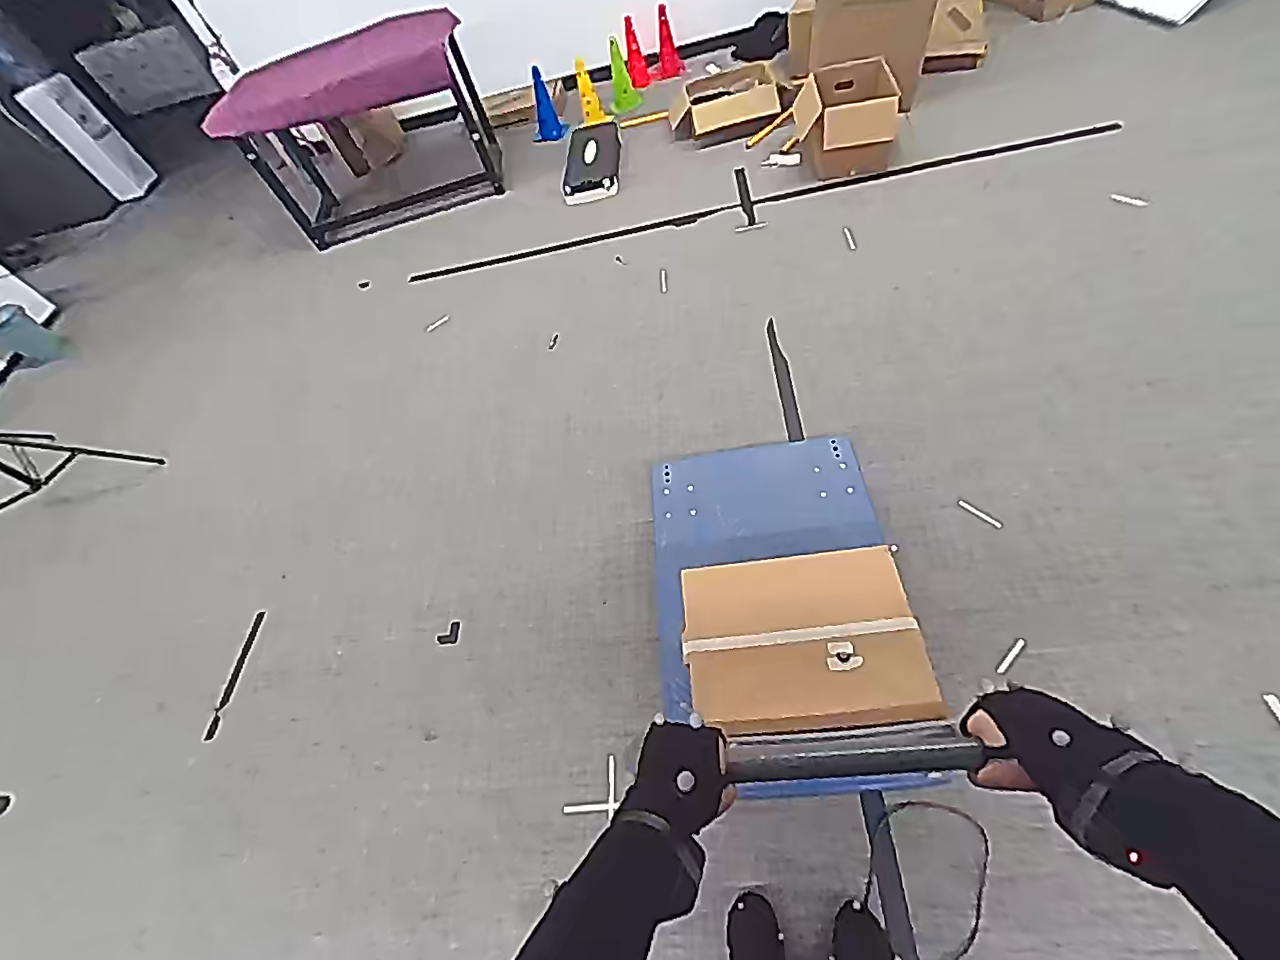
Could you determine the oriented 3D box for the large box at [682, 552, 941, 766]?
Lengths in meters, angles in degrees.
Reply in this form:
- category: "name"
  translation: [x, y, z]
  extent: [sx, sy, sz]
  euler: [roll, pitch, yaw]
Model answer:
- category: "large box"
  translation: [0.315, 0.377, 1.106]
  extent: [0.408, 0.320, 0.320]
  euler: [-9, 56, 7]
